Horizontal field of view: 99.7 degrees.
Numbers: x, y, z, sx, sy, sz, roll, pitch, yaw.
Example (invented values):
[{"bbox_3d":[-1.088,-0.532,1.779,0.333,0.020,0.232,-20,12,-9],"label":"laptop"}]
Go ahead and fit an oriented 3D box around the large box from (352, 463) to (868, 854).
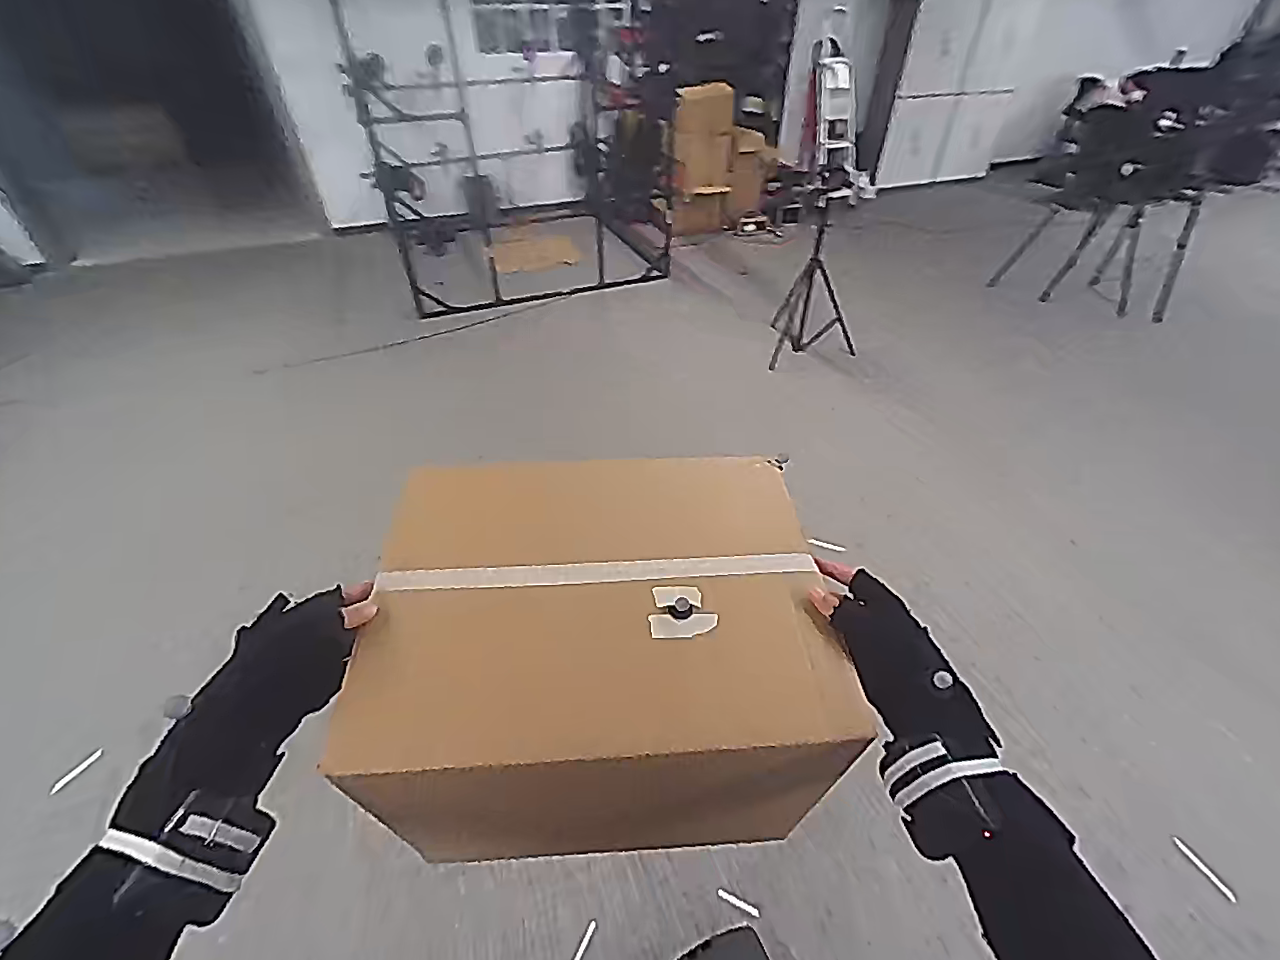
[{"bbox_3d":[-0.033,0.197,0.617,0.408,0.320,0.320,-1,46,-4],"label":"large box"}]
